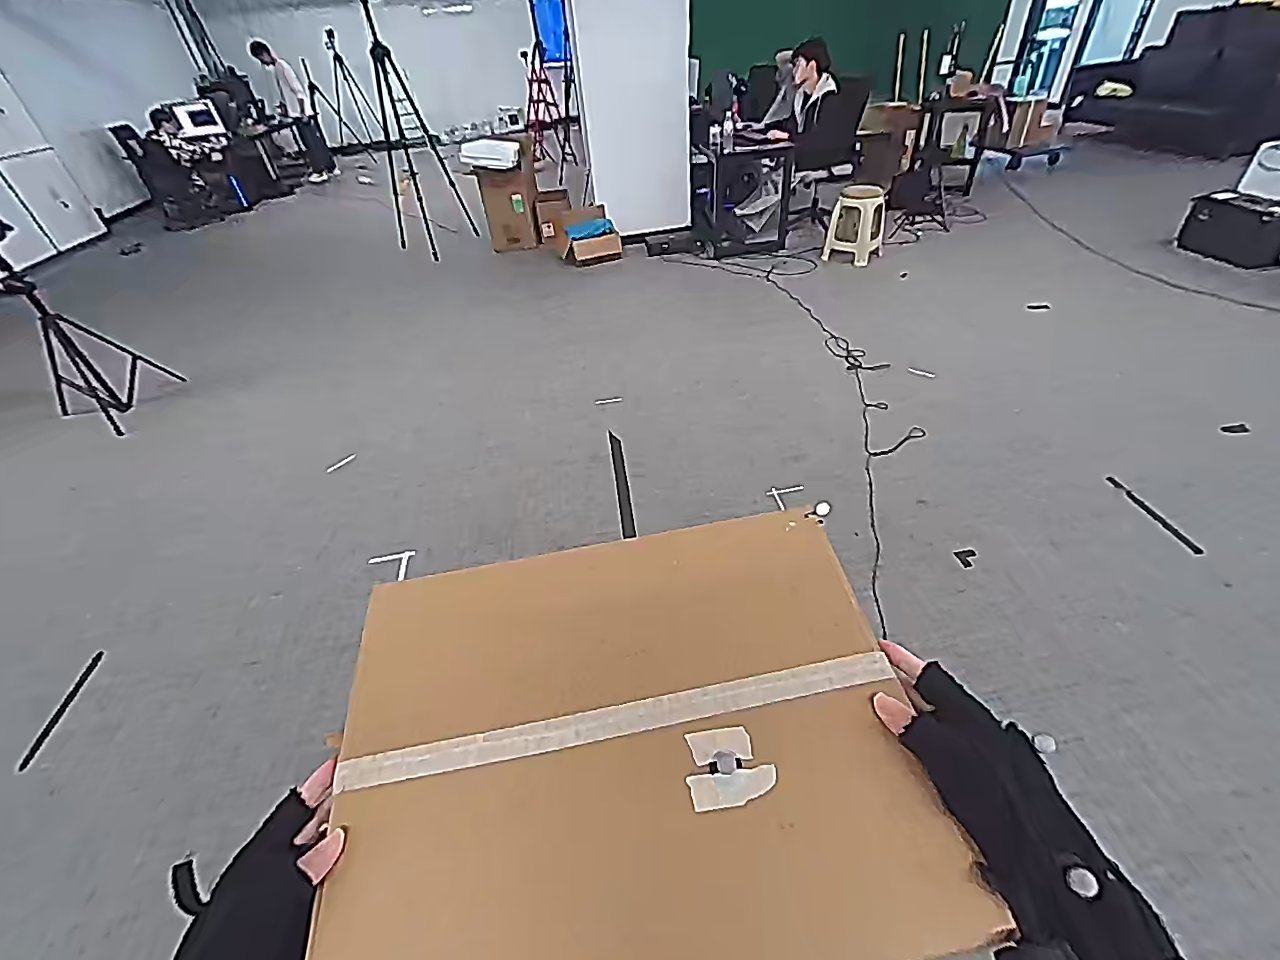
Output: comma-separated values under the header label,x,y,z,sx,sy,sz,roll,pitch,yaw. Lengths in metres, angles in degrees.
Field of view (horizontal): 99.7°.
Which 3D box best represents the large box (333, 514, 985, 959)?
label,x,y,z,sx,sy,sz,roll,pitch,yaw
large box,-0.001,0.277,0.519,0.408,0.320,0.320,-10,49,-3
